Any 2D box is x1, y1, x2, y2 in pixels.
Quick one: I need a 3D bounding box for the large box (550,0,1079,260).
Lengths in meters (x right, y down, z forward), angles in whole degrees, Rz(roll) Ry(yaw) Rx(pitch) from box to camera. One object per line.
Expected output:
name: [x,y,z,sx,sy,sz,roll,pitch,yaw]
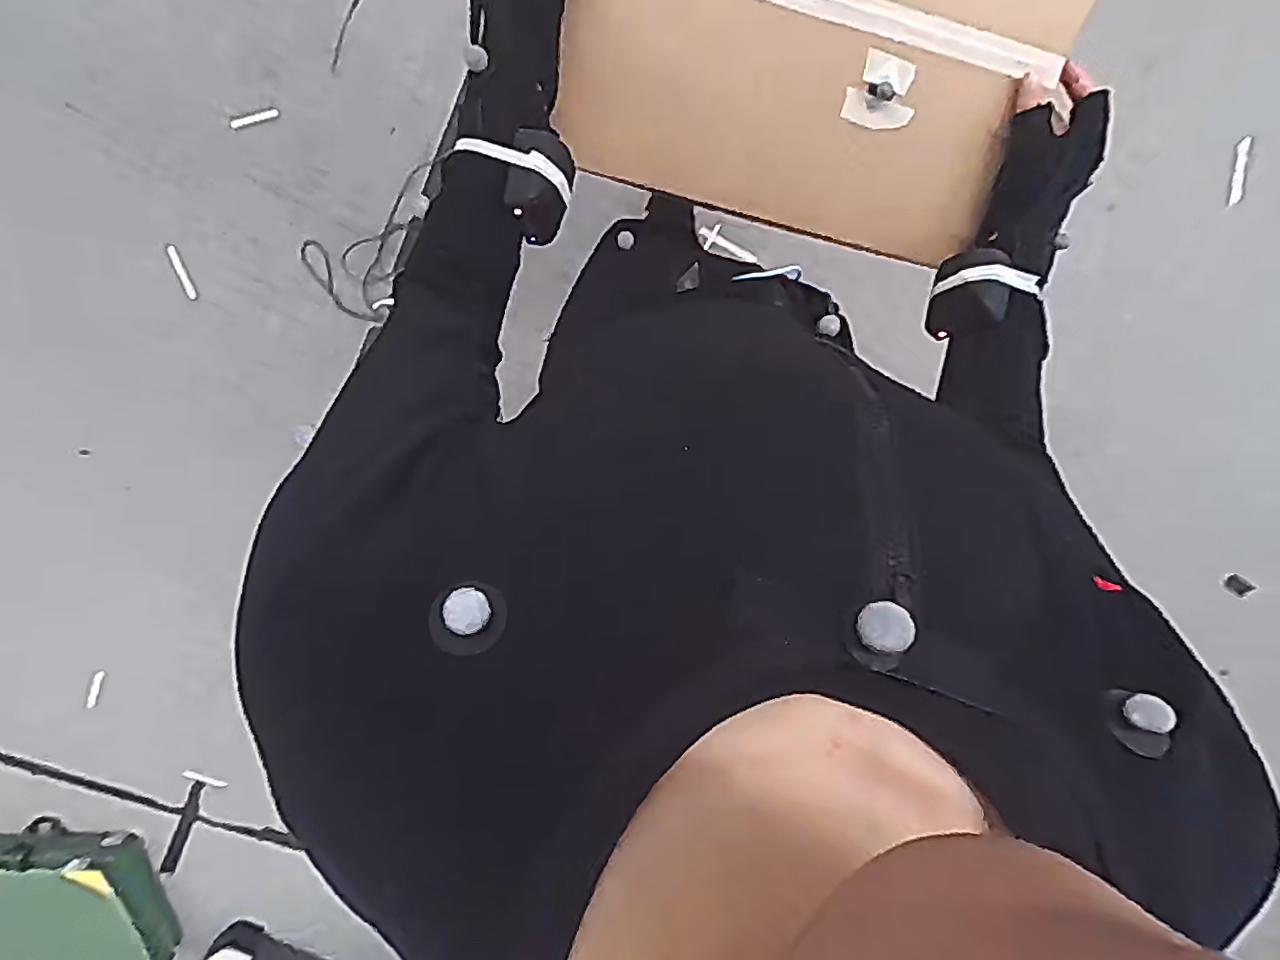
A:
large box: [0.142,-0.452,0.564,0.408,0.320,0.320,13,118,-7]
